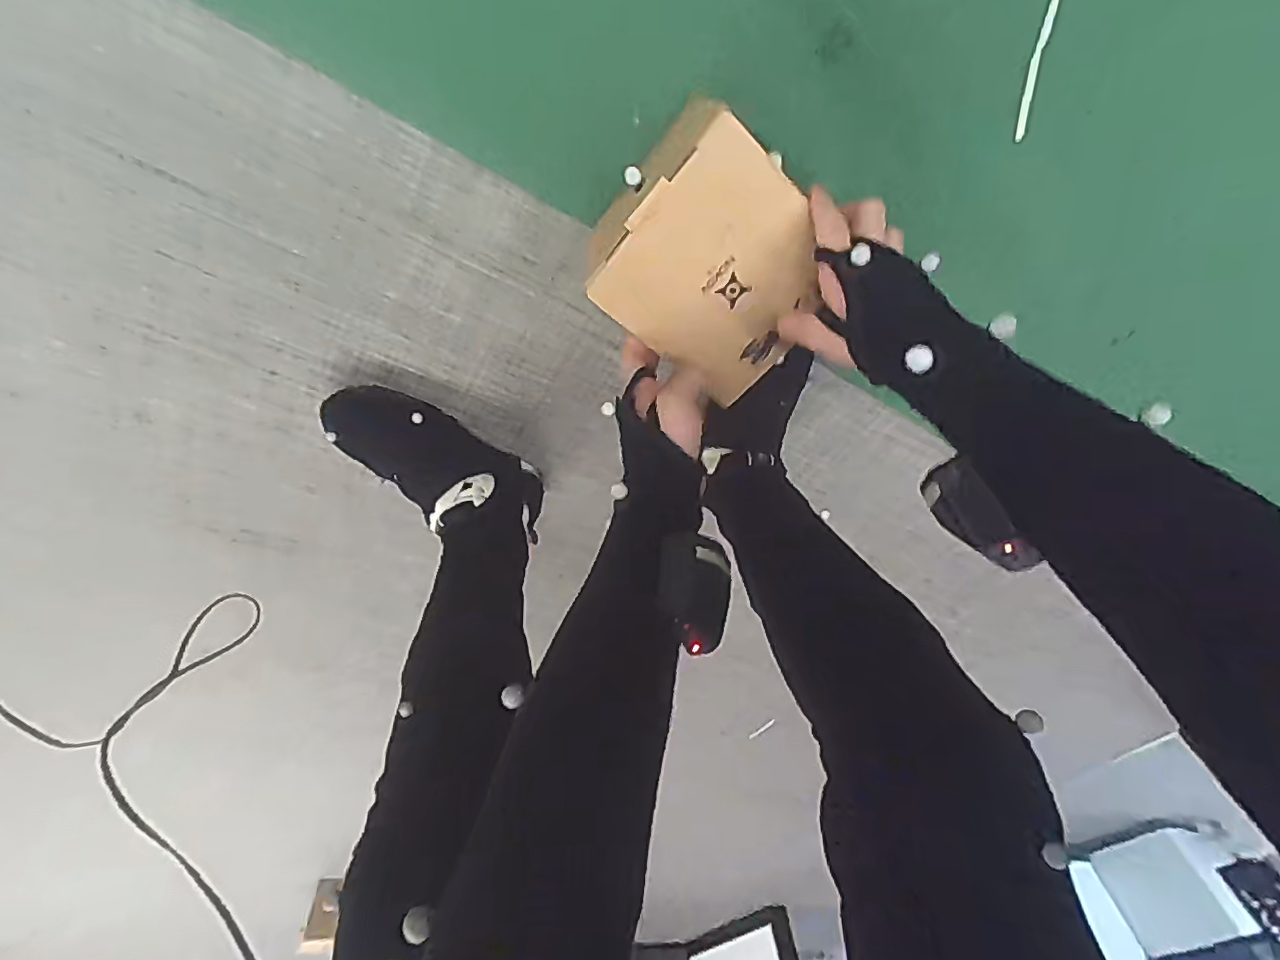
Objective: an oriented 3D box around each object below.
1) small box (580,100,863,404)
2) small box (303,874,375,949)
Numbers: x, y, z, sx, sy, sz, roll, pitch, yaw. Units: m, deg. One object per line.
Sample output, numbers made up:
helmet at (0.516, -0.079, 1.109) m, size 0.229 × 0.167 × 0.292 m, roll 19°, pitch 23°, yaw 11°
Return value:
small box at (0.064, -0.211, 0.505) m, size 0.179 × 0.176 × 0.168 m, roll 38°, pitch 116°, yaw -25°
small box at (-1.016, 1.462, 1.835) m, size 0.168 × 0.176 × 0.179 m, roll 18°, pitch 126°, yaw -22°
